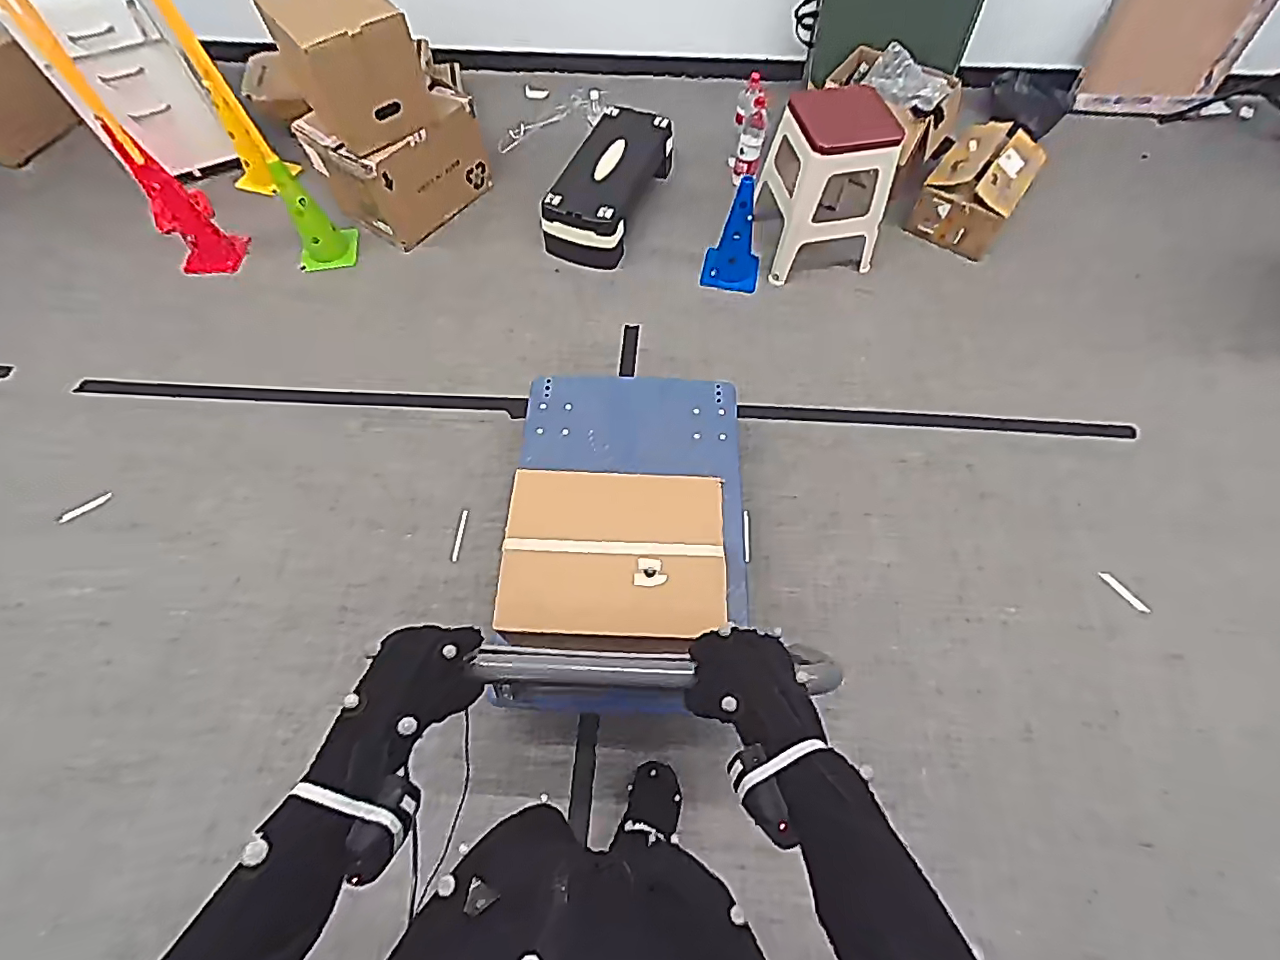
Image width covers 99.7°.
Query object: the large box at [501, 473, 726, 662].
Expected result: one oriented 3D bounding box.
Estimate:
[{"bbox_3d":[-0.049,0.198,1.143,0.408,0.320,0.320,3,63,-1],"label":"large box"}]
